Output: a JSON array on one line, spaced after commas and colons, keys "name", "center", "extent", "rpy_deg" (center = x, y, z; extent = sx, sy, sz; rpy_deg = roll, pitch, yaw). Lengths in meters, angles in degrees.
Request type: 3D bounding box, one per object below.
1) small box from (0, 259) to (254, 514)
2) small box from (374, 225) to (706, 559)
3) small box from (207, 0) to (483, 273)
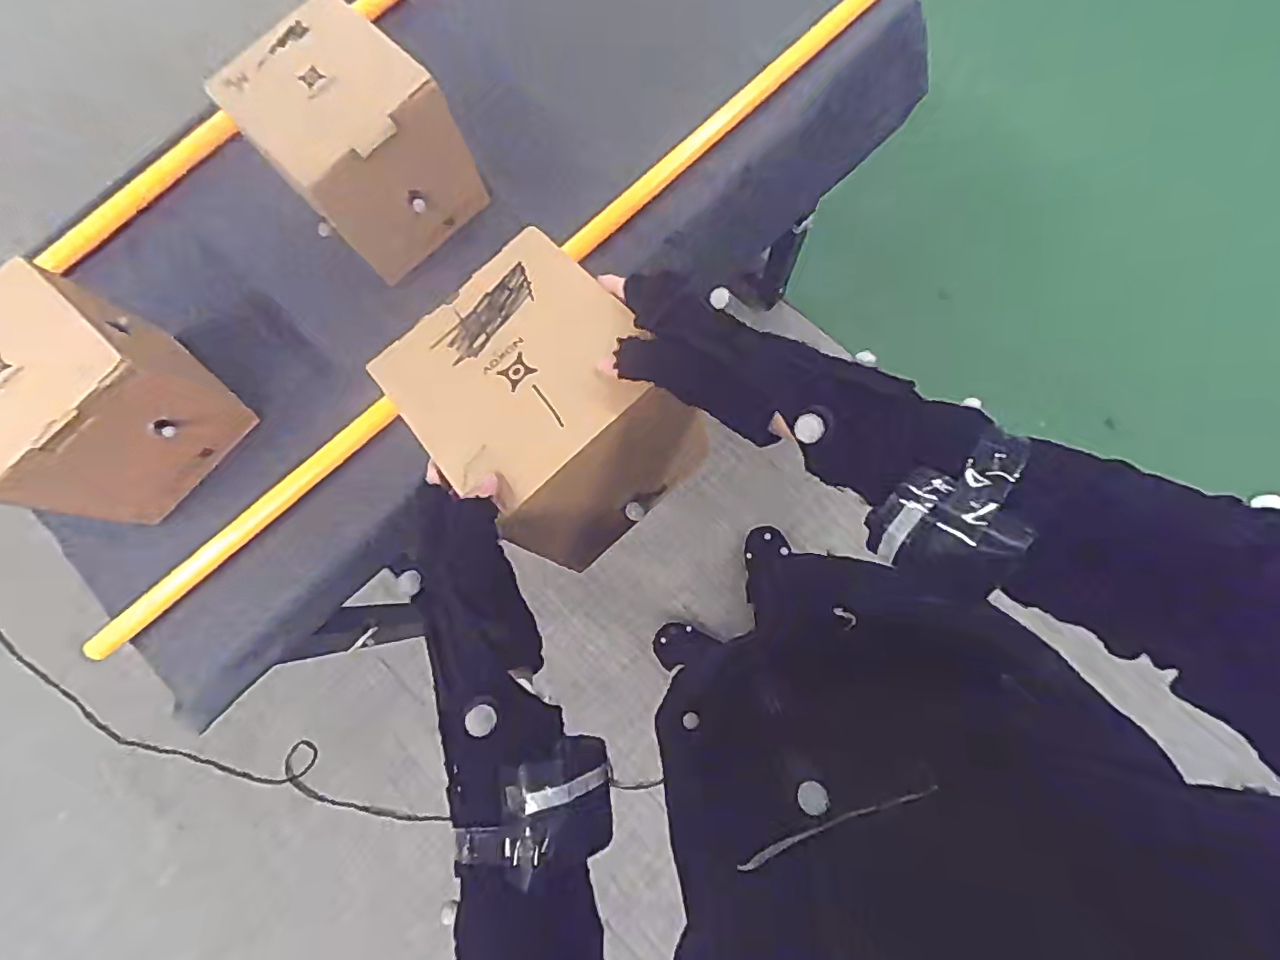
[{"name": "small box", "center": [-0.565, -0.080, 0.564], "extent": [0.179, 0.176, 0.168], "rpy_deg": [39, 81, 12]}, {"name": "small box", "center": [-0.067, -0.057, 0.444], "extent": [0.168, 0.176, 0.179], "rpy_deg": [-42, 67, -1]}, {"name": "small box", "center": [-0.311, -0.367, 0.609], "extent": [0.179, 0.176, 0.168], "rpy_deg": [41, 85, 11]}]
